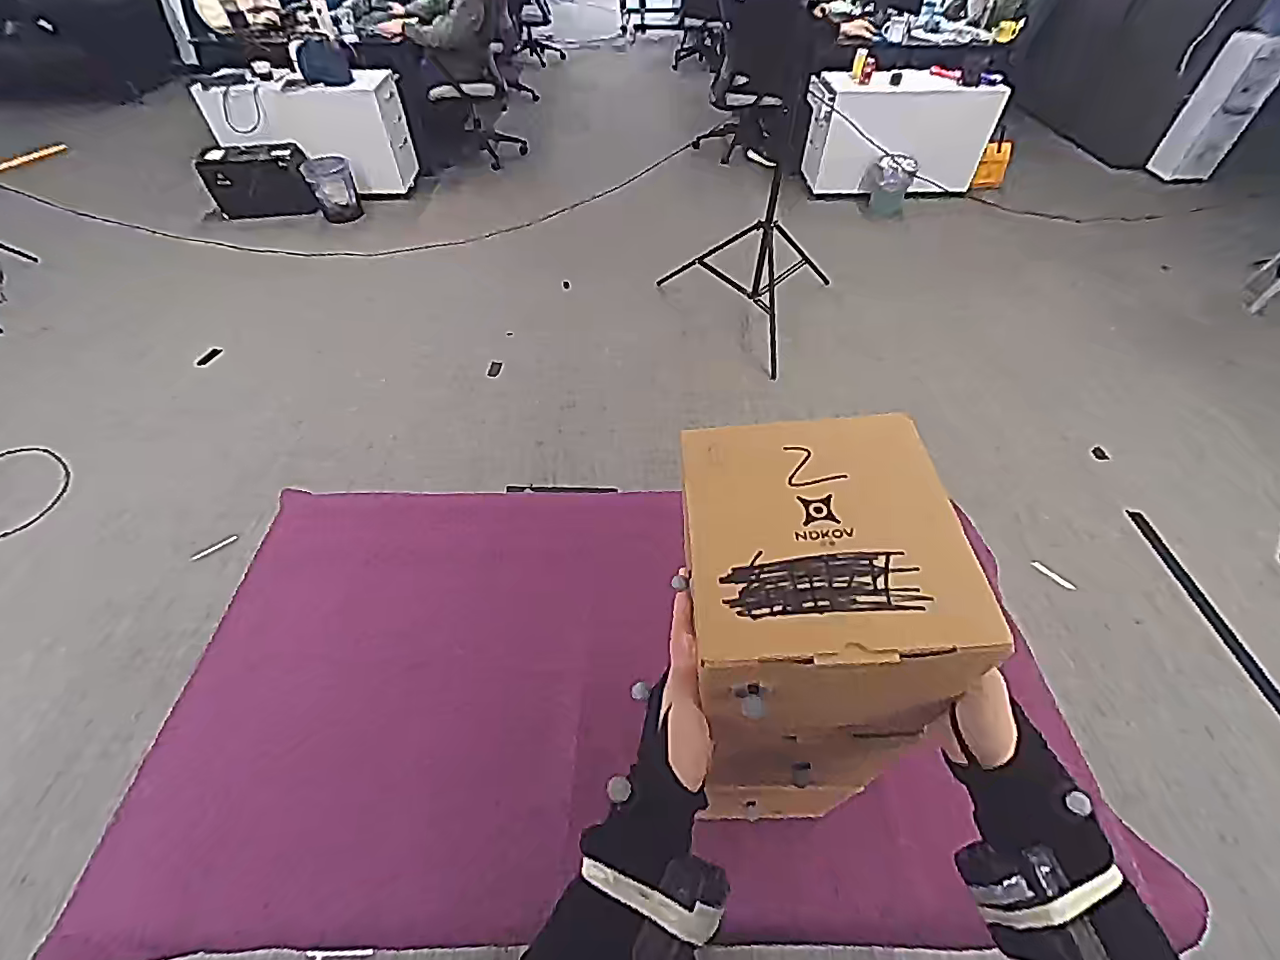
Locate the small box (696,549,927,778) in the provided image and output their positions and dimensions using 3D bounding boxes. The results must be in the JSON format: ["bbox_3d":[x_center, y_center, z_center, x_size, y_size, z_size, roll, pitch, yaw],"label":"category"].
[{"bbox_3d":[0.146,0.186,0.537,0.168,0.176,0.179,0,50,0],"label":"small box"}]

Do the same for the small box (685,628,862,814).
[{"bbox_3d":[0.145,0.295,0.658,0.168,0.176,0.179,0,49,0],"label":"small box"}]
